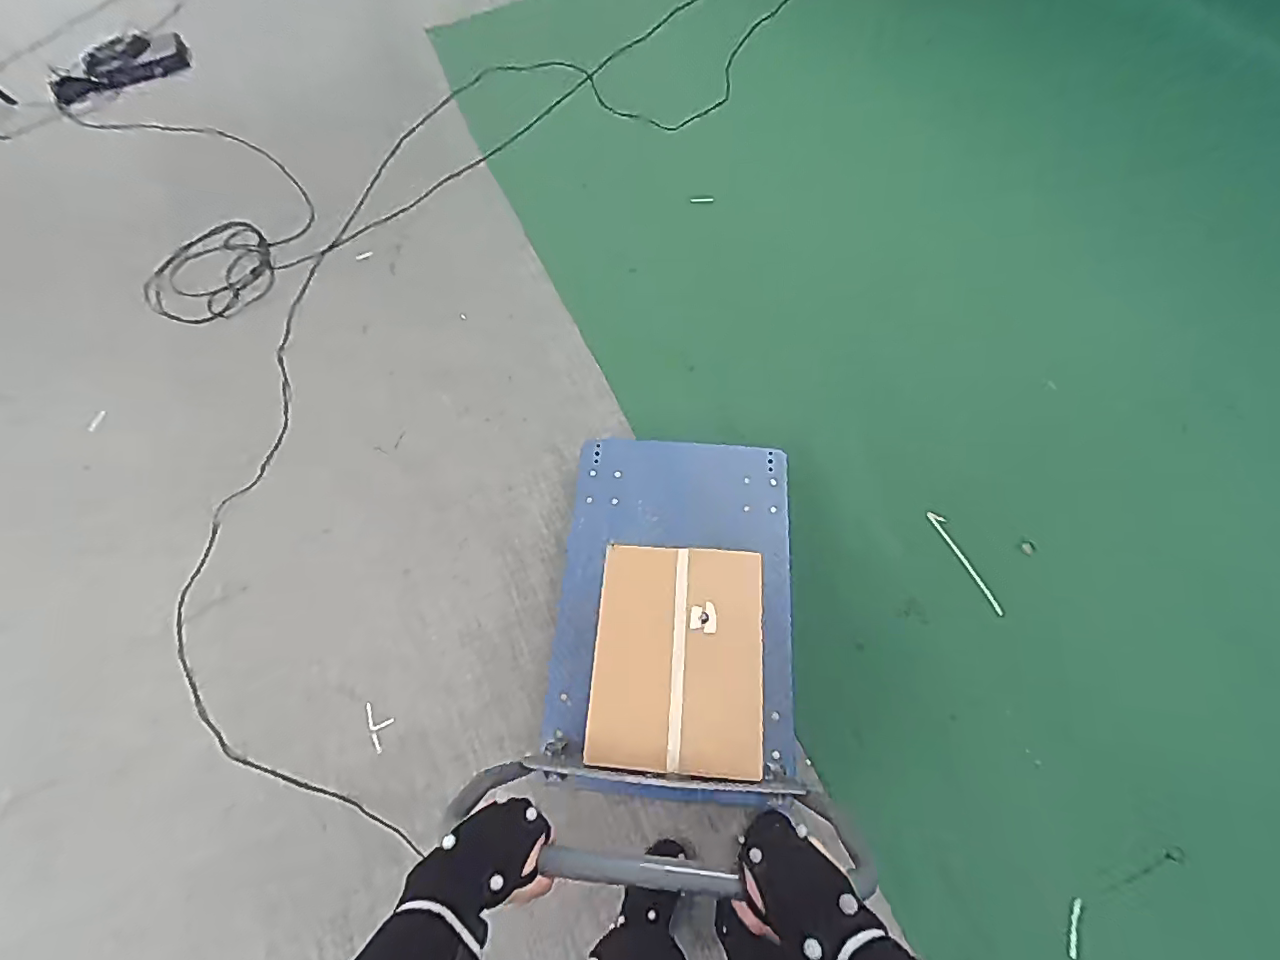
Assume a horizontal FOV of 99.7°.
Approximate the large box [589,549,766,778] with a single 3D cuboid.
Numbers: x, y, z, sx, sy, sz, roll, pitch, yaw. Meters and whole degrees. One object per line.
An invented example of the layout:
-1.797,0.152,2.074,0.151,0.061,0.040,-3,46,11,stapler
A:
0.086,0.389,1.148,0.320,0.320,0.408,3,65,5,large box
